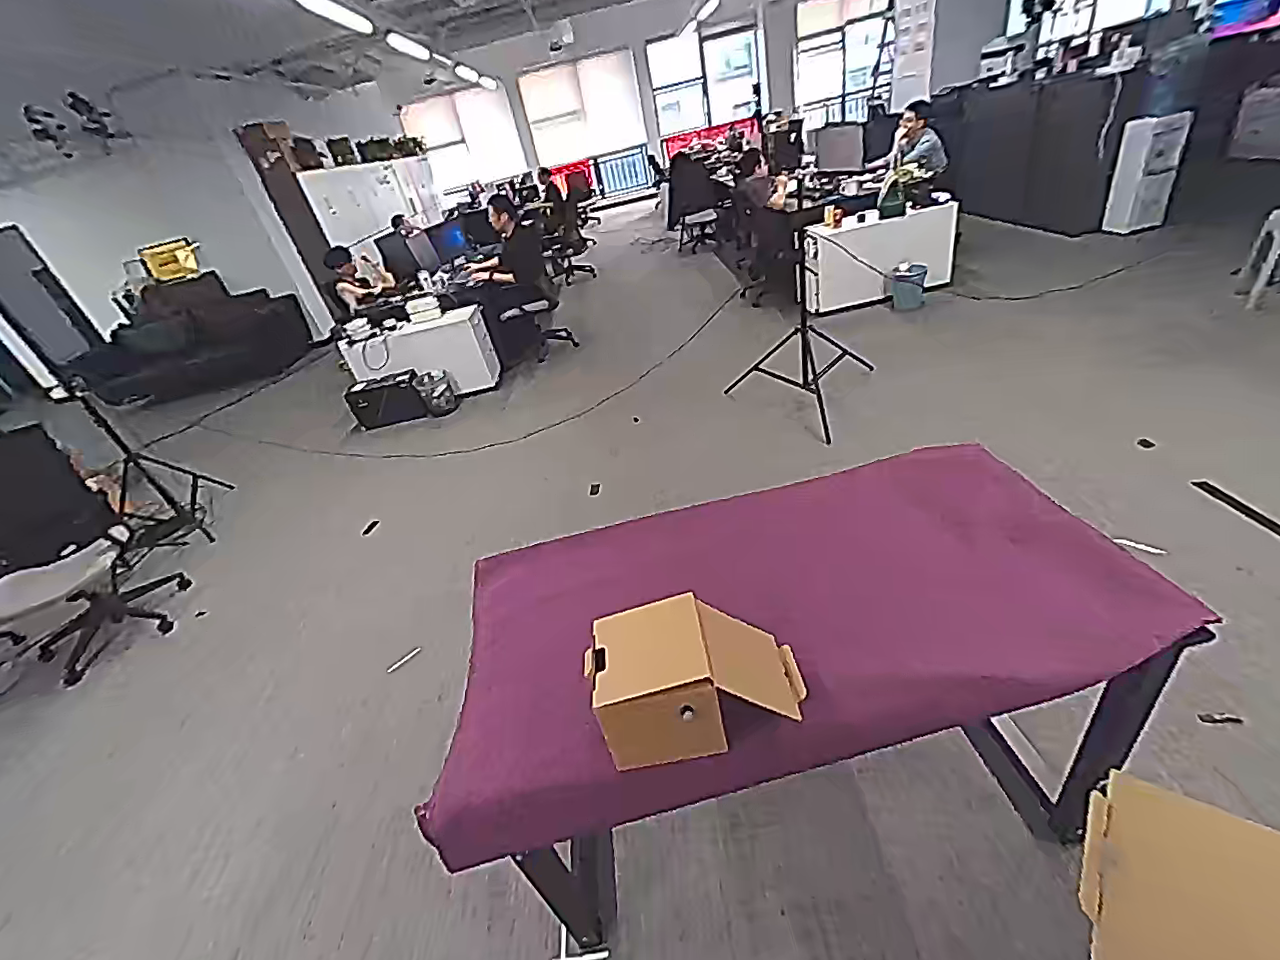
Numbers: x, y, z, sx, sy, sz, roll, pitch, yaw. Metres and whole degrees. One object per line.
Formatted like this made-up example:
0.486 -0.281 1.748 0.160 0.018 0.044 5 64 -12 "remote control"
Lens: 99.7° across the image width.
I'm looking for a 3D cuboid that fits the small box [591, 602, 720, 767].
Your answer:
0.027 0.325 0.861 0.179 0.176 0.168 -12 32 4 "small box"
